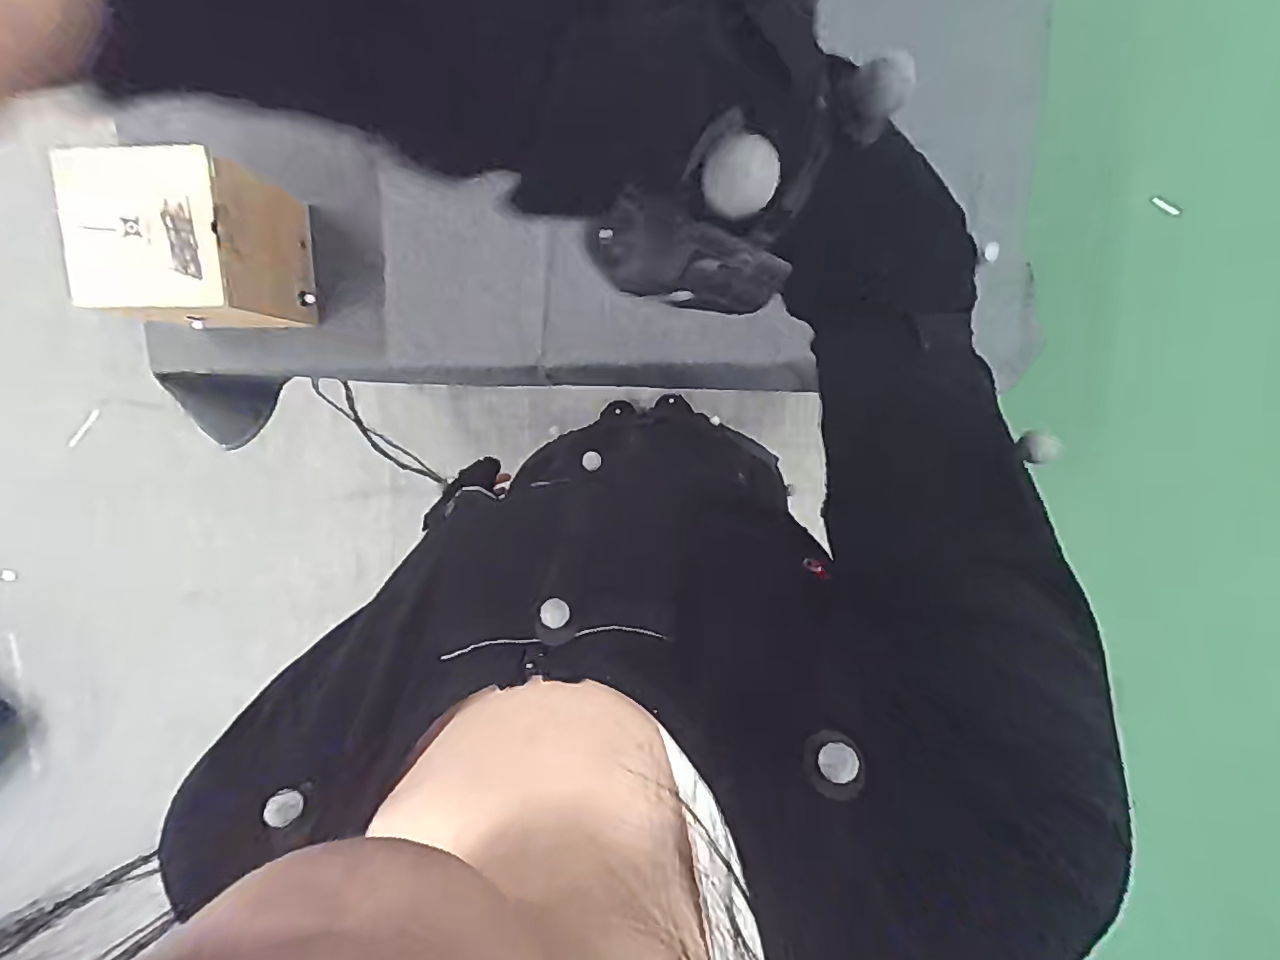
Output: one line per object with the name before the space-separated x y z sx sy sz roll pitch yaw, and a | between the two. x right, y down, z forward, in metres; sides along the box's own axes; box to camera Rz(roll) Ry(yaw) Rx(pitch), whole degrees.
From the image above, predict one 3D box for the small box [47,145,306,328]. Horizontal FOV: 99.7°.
small box | -0.537 -0.282 0.659 0.179 0.176 0.168 0 98 1
